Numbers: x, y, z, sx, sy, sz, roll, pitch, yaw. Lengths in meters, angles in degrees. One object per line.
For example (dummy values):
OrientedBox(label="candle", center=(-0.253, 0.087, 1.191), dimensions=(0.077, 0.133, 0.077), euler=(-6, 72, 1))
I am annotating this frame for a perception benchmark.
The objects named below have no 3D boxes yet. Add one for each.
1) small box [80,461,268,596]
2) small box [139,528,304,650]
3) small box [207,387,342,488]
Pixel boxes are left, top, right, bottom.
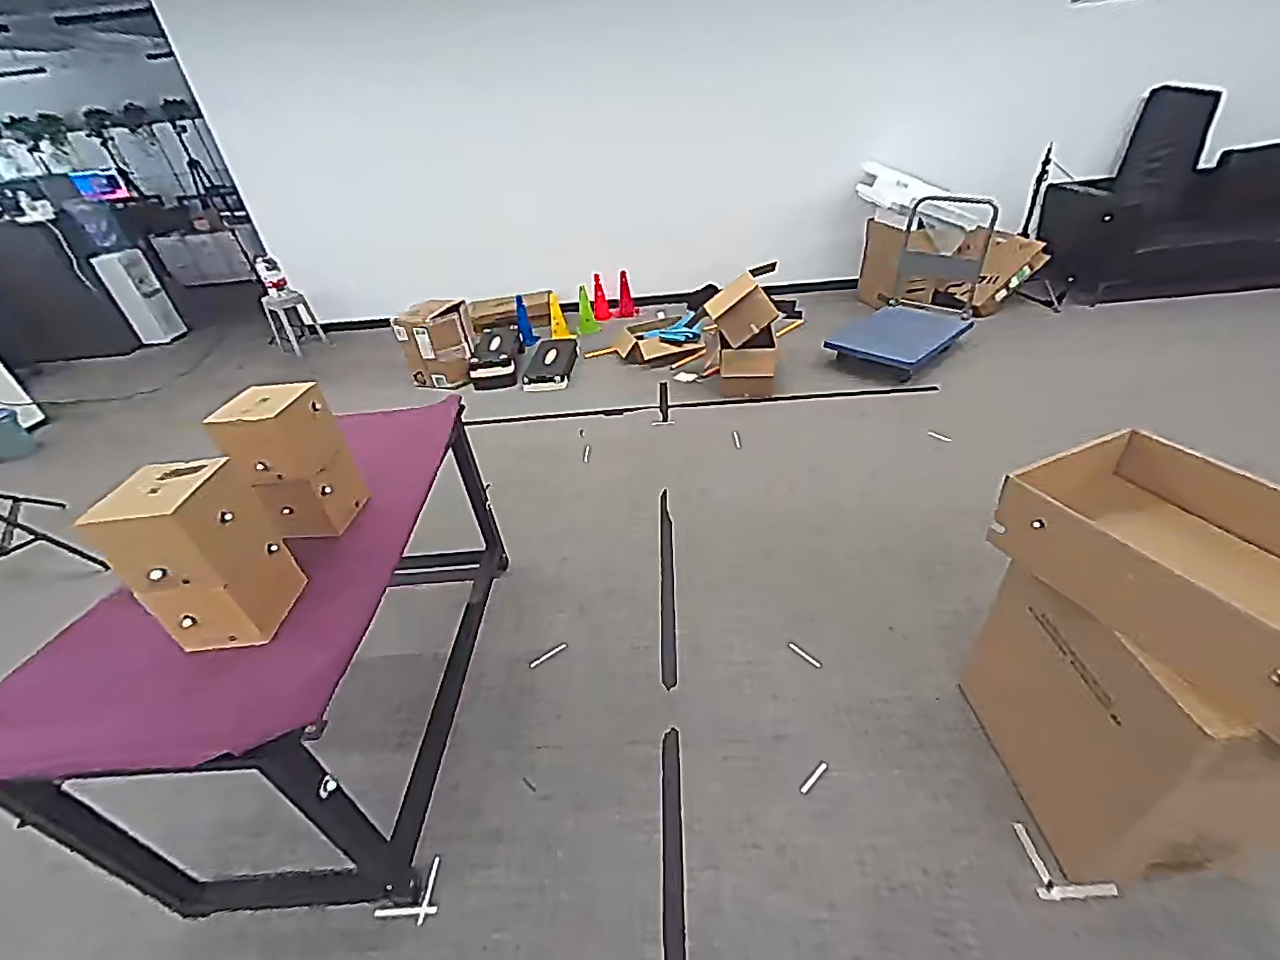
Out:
OrientedBox(label="small box", center=(-0.827, 0.087, 0.989), dimensions=(0.168, 0.176, 0.179), euler=(-6, 35, 1))
OrientedBox(label="small box", center=(-0.816, 0.222, 1.082), dimensions=(0.168, 0.176, 0.179), euler=(-6, 35, 0))
OrientedBox(label="small box", center=(-0.824, -0.099, 1.246), dimensions=(0.168, 0.176, 0.179), euler=(-4, 36, 6))
